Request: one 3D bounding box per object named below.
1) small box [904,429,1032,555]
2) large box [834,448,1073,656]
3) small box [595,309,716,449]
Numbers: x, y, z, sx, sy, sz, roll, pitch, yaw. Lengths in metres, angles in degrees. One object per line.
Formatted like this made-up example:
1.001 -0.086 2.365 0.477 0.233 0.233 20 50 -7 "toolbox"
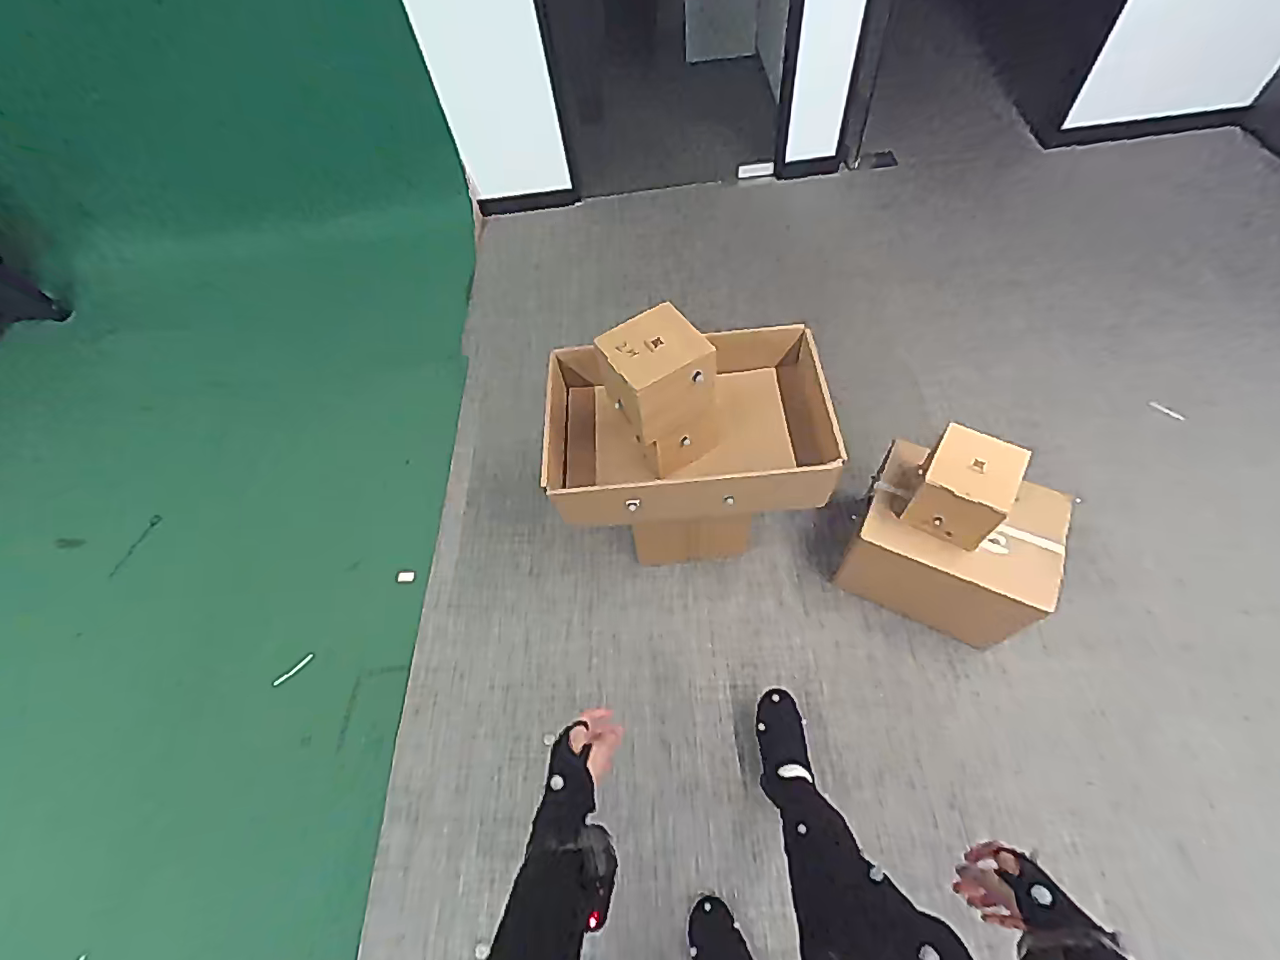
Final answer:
0.700 0.029 1.169 0.168 0.176 0.179 26 64 21 "small box"
0.757 0.181 1.356 0.408 0.320 0.320 23 64 18 "large box"
0.033 -0.195 1.068 0.179 0.176 0.168 -30 59 -11 "small box"
